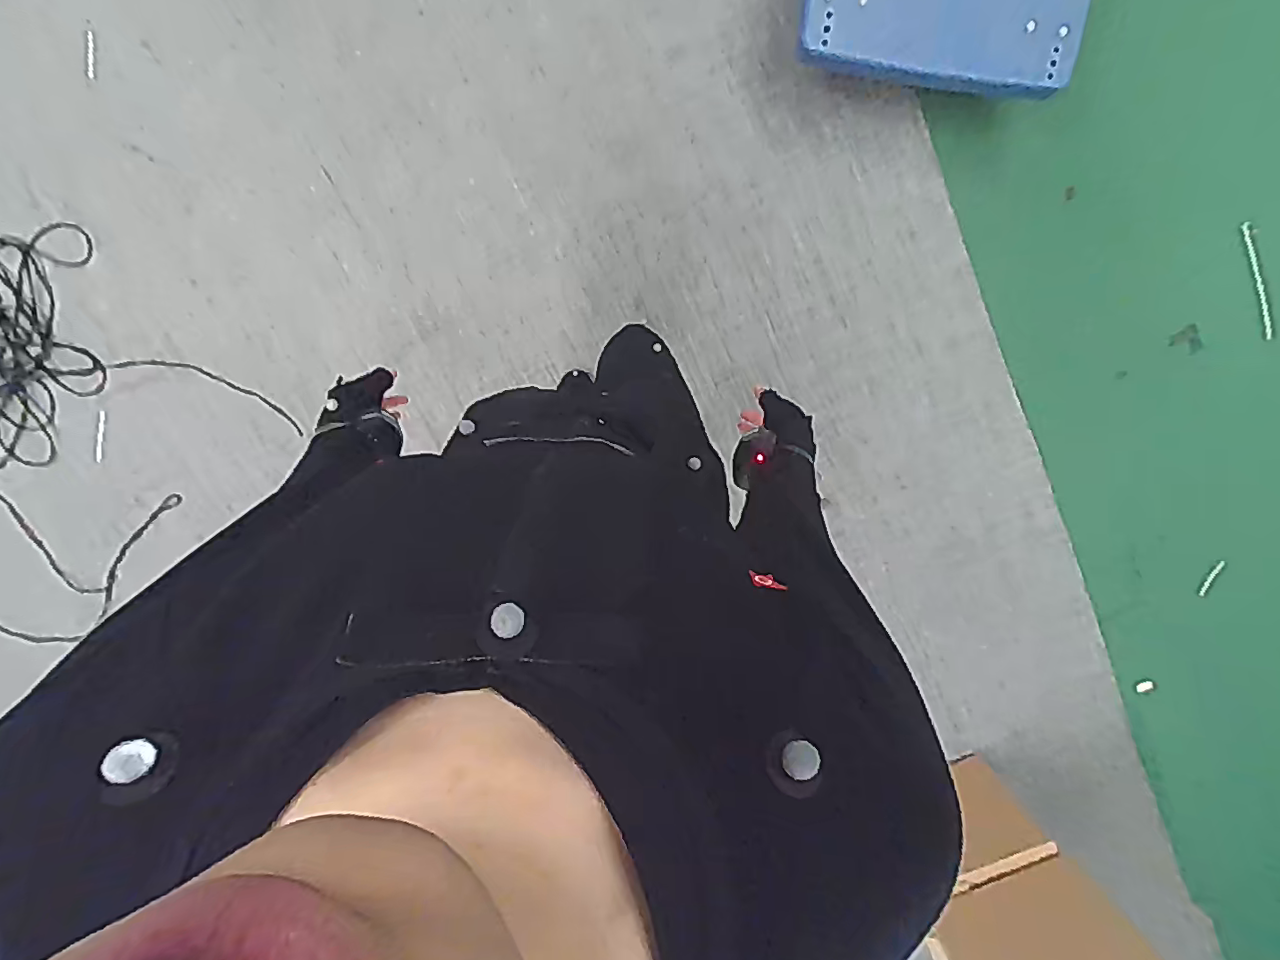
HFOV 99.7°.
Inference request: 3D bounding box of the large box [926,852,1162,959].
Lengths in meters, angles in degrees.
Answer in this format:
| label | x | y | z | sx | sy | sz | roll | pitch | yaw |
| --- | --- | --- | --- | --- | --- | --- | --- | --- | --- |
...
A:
| label | x | y | z | sx | sy | sz | roll | pitch | yaw |
| --- | --- | --- | --- | --- | --- | --- | --- | --- | --- |
| large box | 0.995 | 1.201 | 1.296 | 0.408 | 0.320 | 0.320 | -26 | 105 | 5 |
